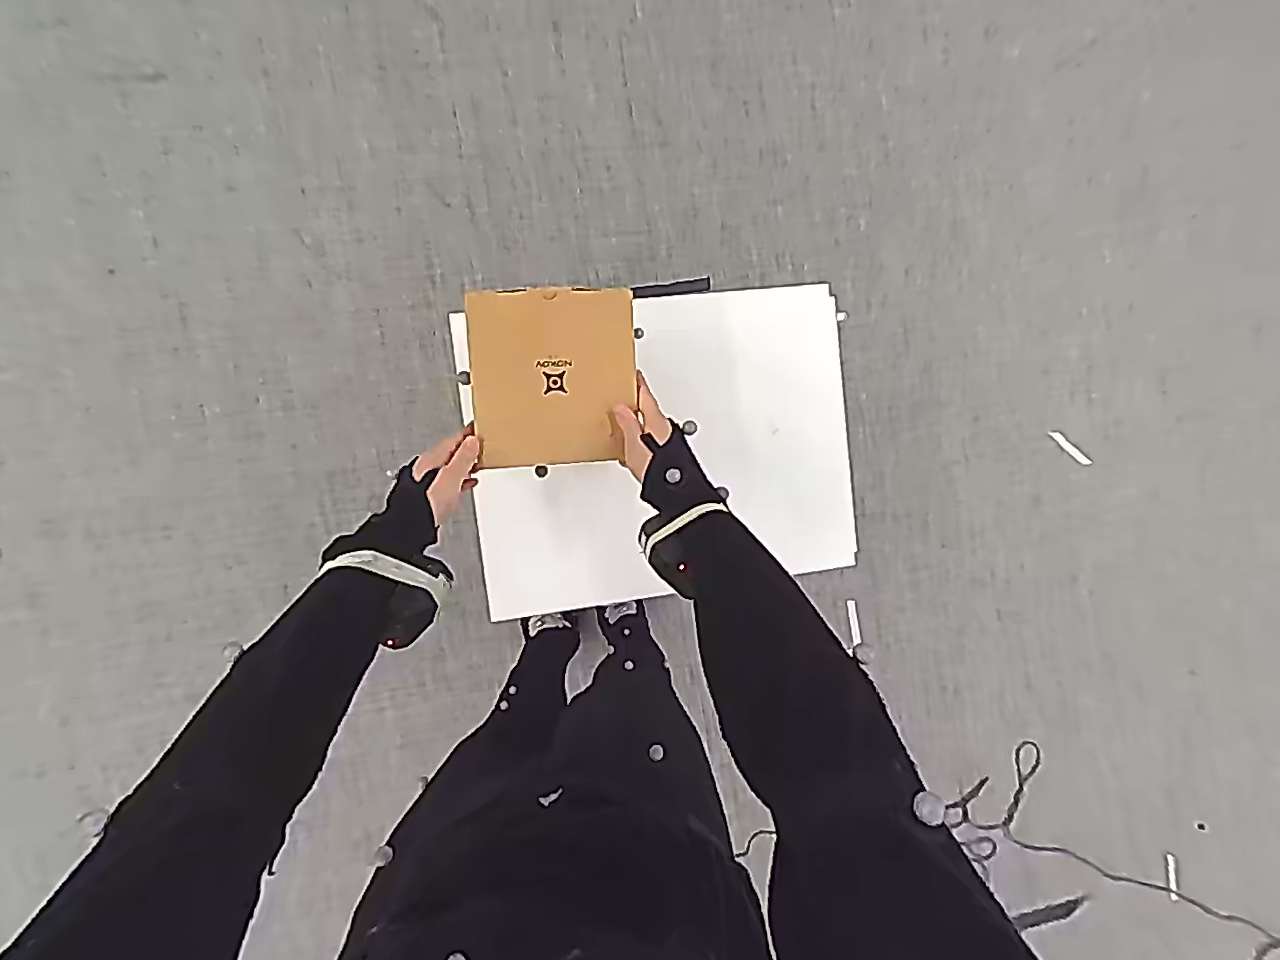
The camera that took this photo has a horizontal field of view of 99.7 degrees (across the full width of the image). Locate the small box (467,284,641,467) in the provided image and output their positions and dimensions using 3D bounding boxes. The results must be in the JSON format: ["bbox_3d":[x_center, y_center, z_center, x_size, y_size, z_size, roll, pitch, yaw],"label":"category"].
[{"bbox_3d":[-0.093,-0.109,0.614,0.168,0.176,0.179,-4,93,-9],"label":"small box"}]
